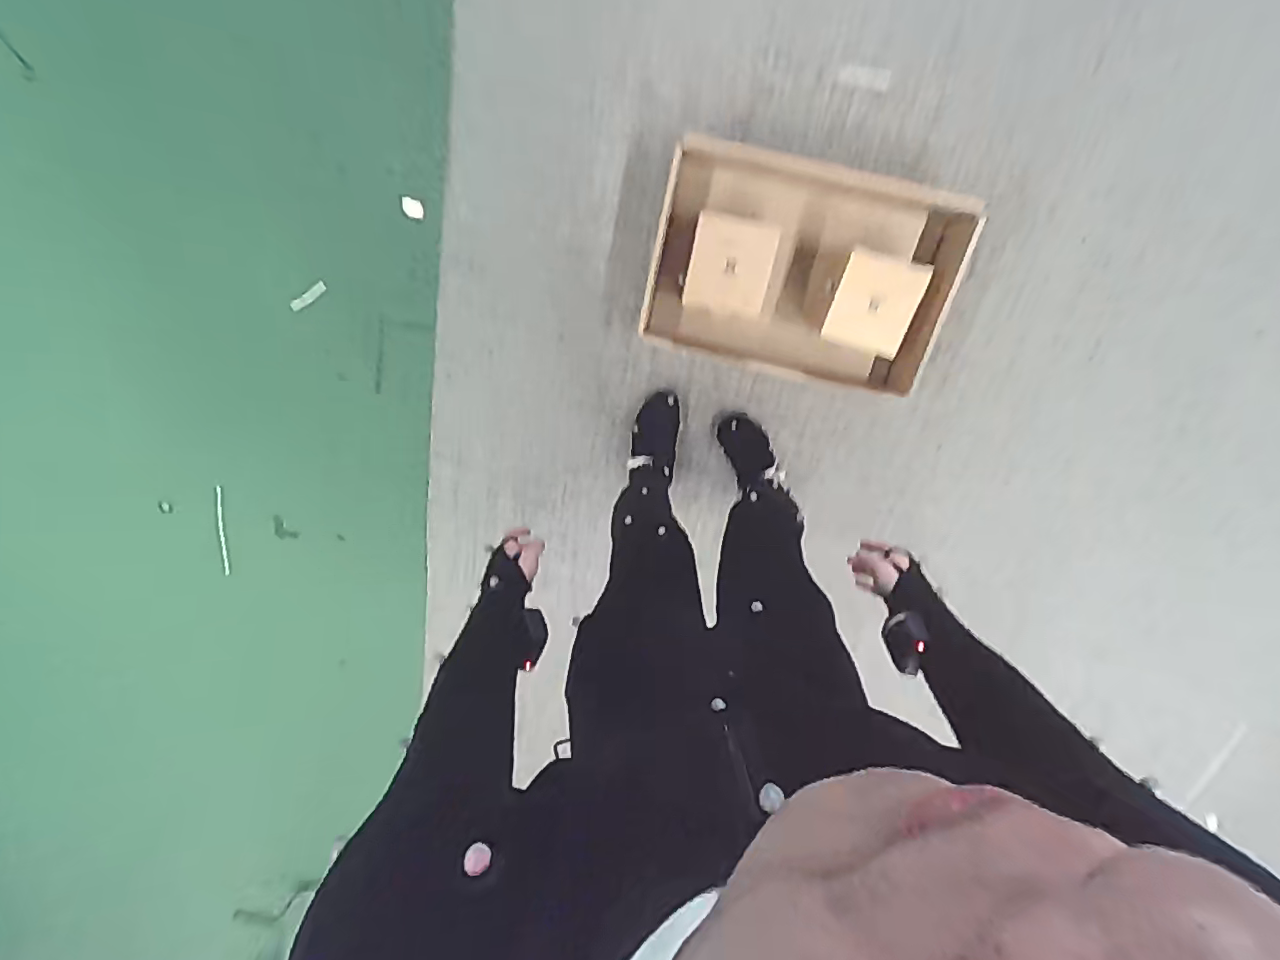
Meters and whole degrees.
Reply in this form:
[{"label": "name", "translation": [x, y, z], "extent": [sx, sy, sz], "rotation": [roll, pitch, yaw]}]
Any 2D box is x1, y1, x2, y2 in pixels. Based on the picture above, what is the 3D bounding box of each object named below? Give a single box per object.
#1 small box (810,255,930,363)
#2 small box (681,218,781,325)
[{"label": "small box", "translation": [0.479, -0.370, 1.163], "extent": [0.168, 0.176, 0.179], "rotation": [17, 111, 0]}, {"label": "small box", "translation": [0.188, -0.444, 1.163], "extent": [0.168, 0.176, 0.179], "rotation": [12, 110, -1]}]
